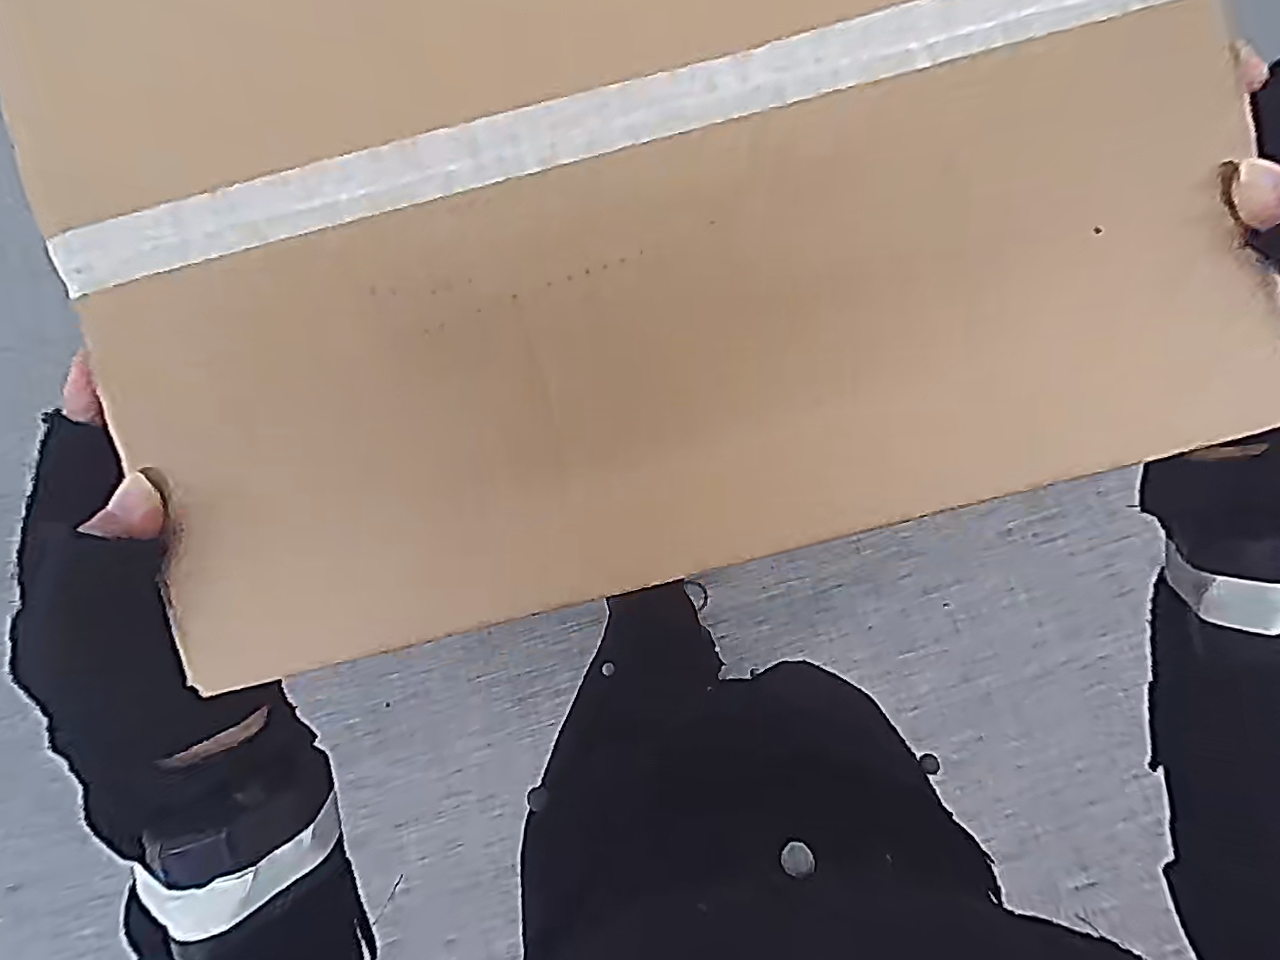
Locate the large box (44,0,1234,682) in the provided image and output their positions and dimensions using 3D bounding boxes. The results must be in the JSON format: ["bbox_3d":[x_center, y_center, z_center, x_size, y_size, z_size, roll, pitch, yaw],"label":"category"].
[{"bbox_3d":[-0.003,-0.122,0.353,0.408,0.320,0.320,-15,93,1],"label":"large box"}]
